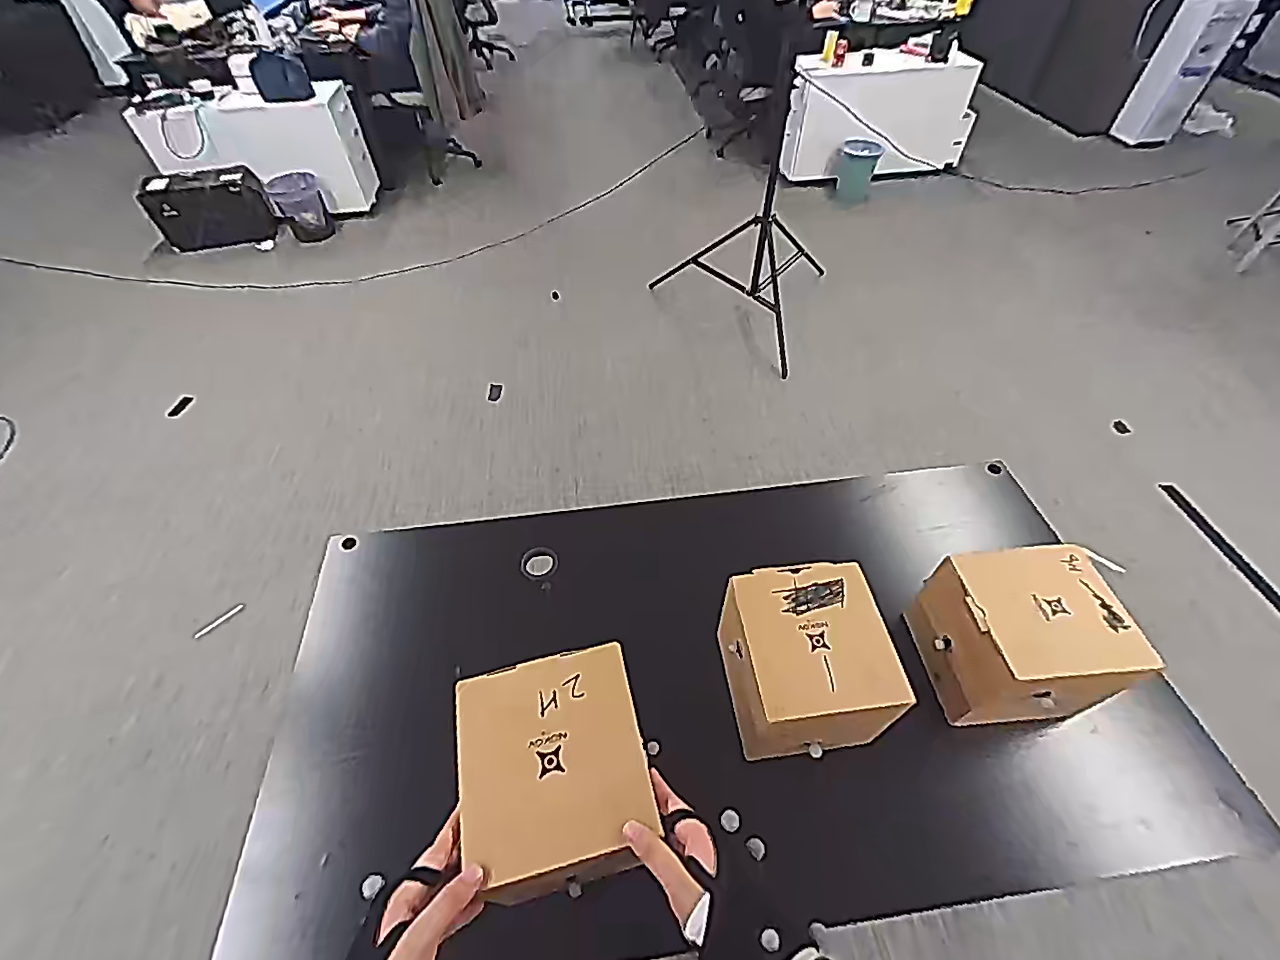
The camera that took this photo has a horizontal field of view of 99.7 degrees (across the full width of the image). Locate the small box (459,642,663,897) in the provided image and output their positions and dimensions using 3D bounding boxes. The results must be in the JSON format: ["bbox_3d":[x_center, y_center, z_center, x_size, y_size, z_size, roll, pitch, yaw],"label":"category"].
[{"bbox_3d":[-0.075,0.295,0.547,0.168,0.176,0.179,-12,50,-7],"label":"small box"}]

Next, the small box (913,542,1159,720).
[{"bbox_3d":[0.483,0.200,0.703,0.179,0.176,0.168,-5,50,-1],"label":"small box"}]

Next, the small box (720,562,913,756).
[{"bbox_3d":[0.204,0.228,0.687,0.168,0.176,0.179,-6,51,-3],"label":"small box"}]
